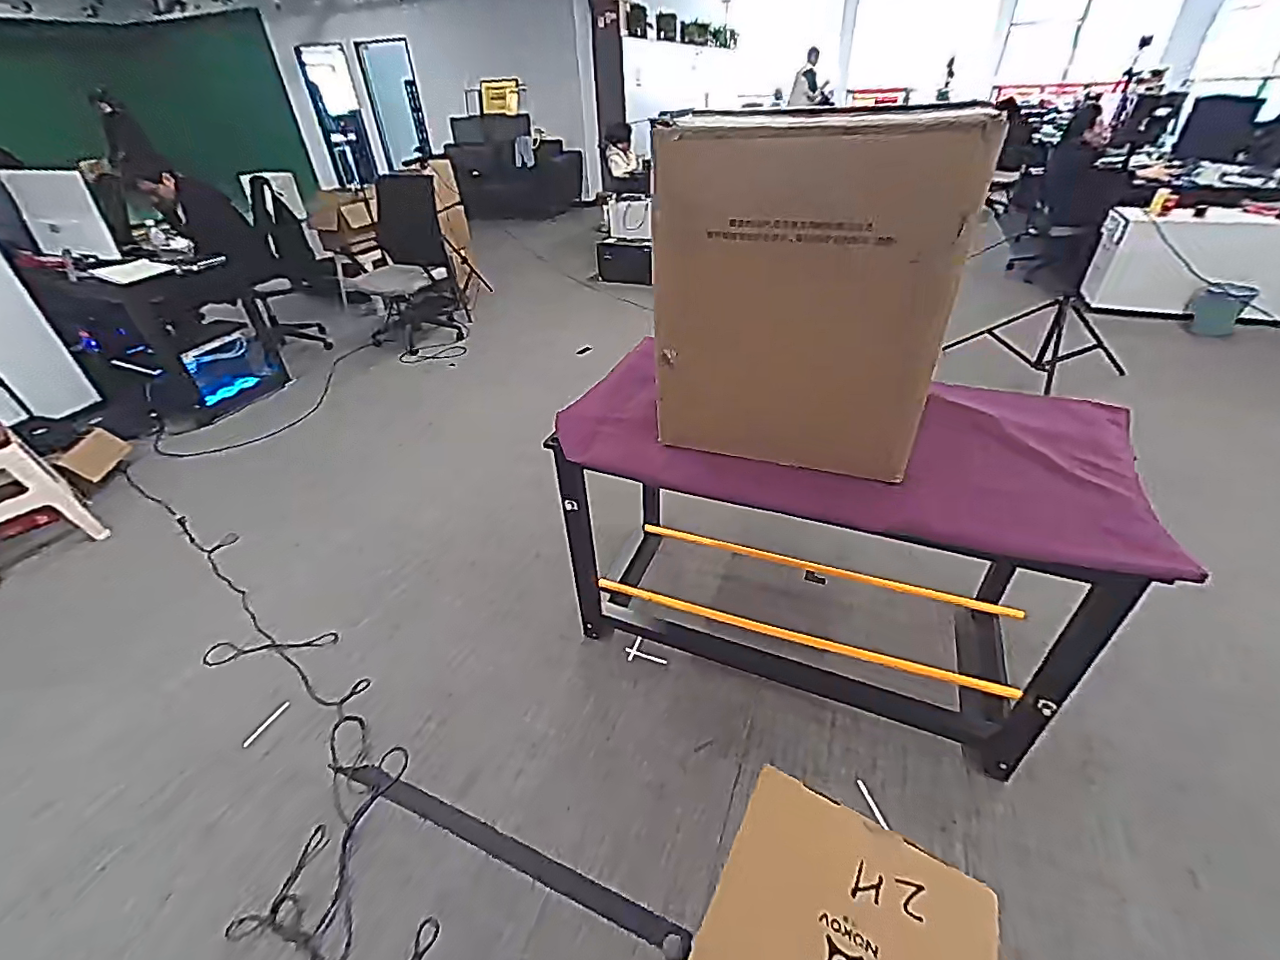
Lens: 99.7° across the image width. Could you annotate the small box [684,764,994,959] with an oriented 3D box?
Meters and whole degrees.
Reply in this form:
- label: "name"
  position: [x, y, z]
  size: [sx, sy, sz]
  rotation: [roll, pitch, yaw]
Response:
- label: "small box"
  position: [0.121, 0.357, 0.381]
  size: [0.168, 0.176, 0.179]
  rotation: [21, 38, 22]
